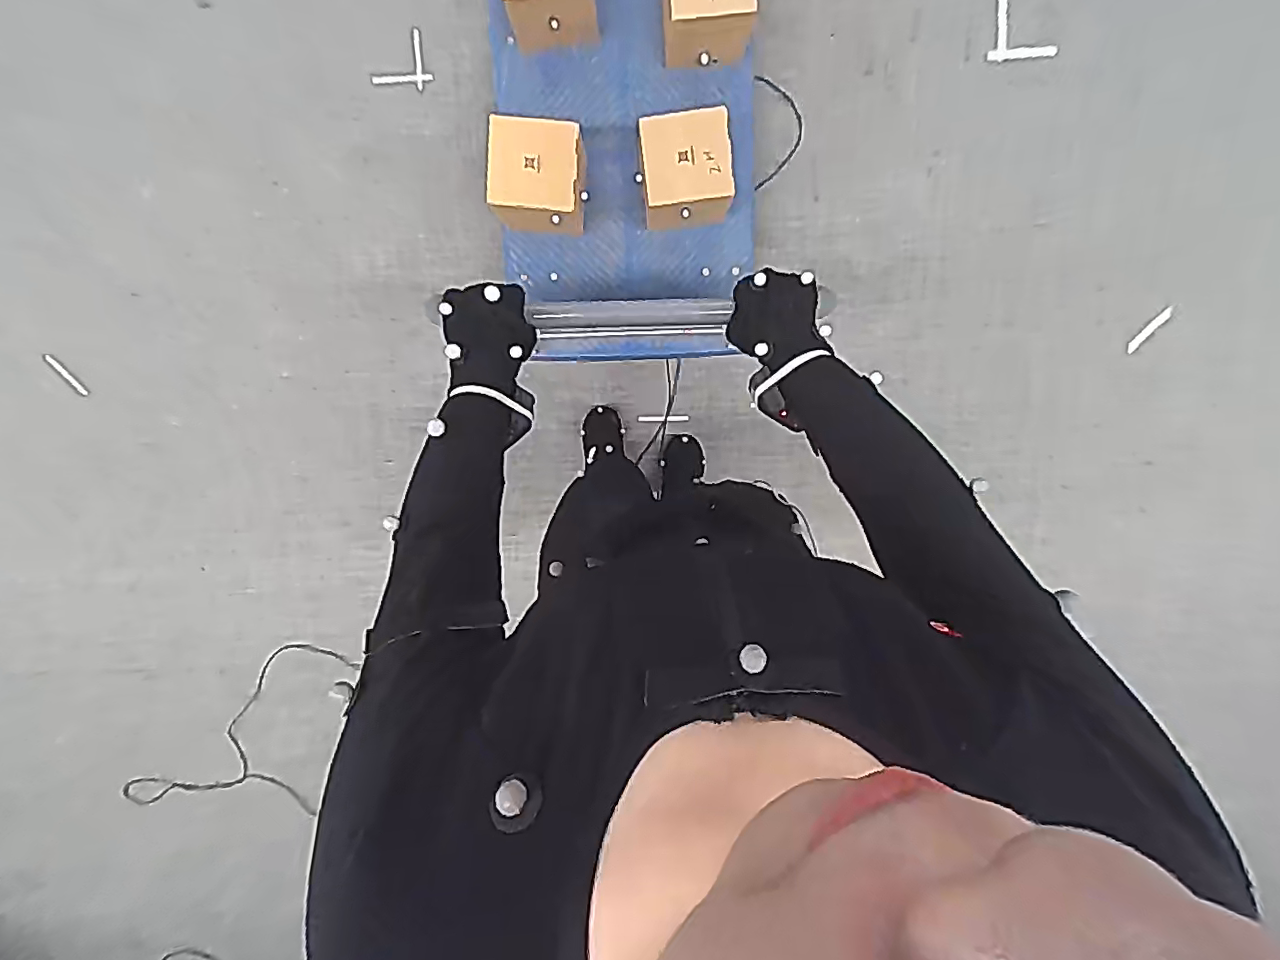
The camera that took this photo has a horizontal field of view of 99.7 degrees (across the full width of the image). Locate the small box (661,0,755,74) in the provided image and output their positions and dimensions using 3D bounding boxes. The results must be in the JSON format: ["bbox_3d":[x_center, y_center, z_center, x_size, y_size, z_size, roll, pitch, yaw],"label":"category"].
[{"bbox_3d":[0.133,-0.978,1.105,0.168,0.176,0.179,-5,99,1],"label":"small box"}]

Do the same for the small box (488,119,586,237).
[{"bbox_3d":[-0.213,-0.634,1.153,0.179,0.176,0.168,4,98,-2],"label":"small box"}]

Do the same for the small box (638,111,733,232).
[{"bbox_3d":[0.092,-0.645,1.151,0.179,0.176,0.168,-7,98,1],"label":"small box"}]
